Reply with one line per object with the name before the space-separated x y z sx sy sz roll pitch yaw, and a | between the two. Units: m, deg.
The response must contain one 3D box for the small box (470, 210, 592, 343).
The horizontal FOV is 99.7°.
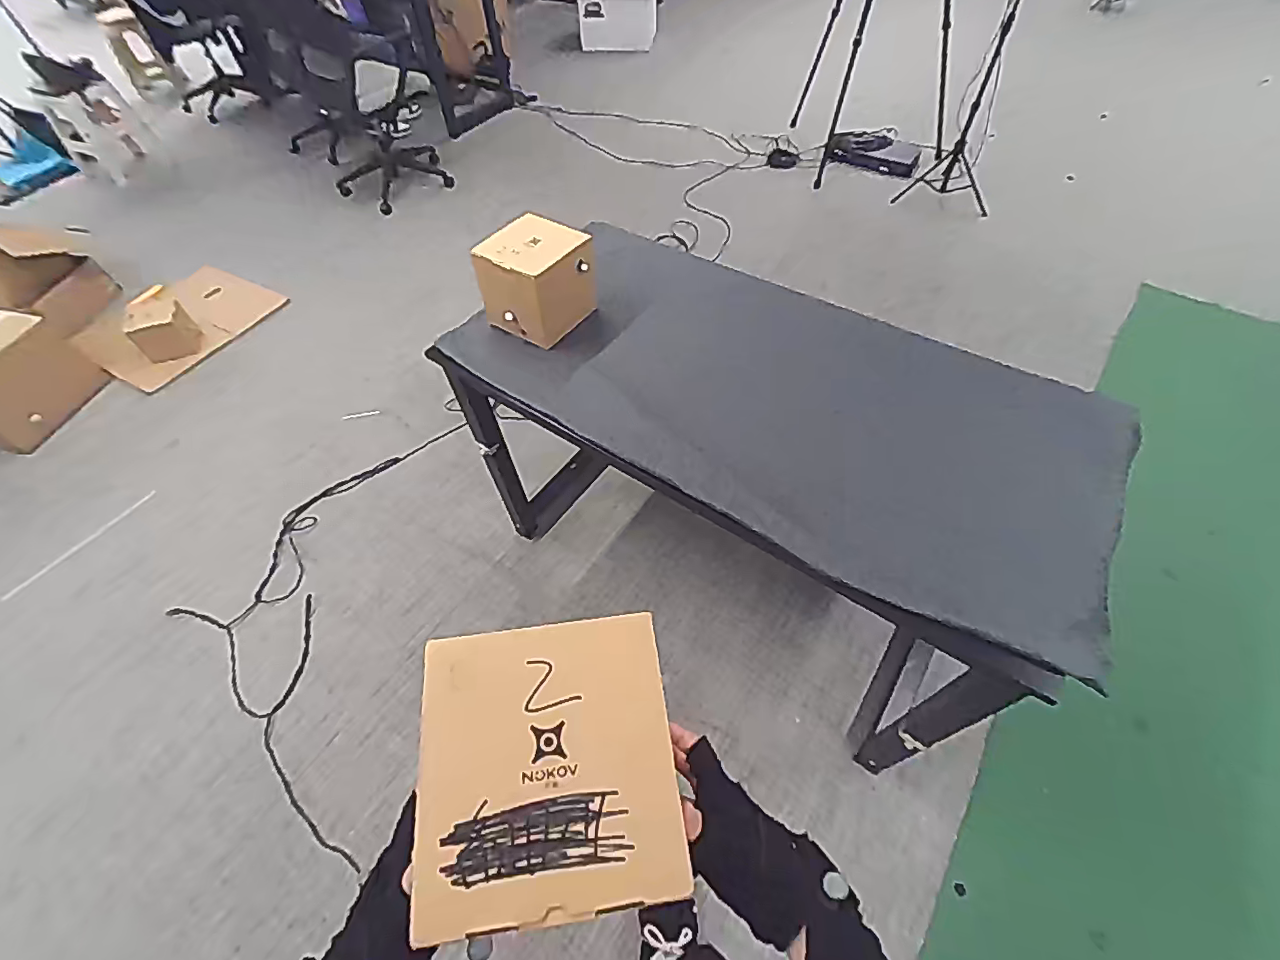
small box | -0.212 -0.414 1.104 0.168 0.176 0.179 28 58 19
